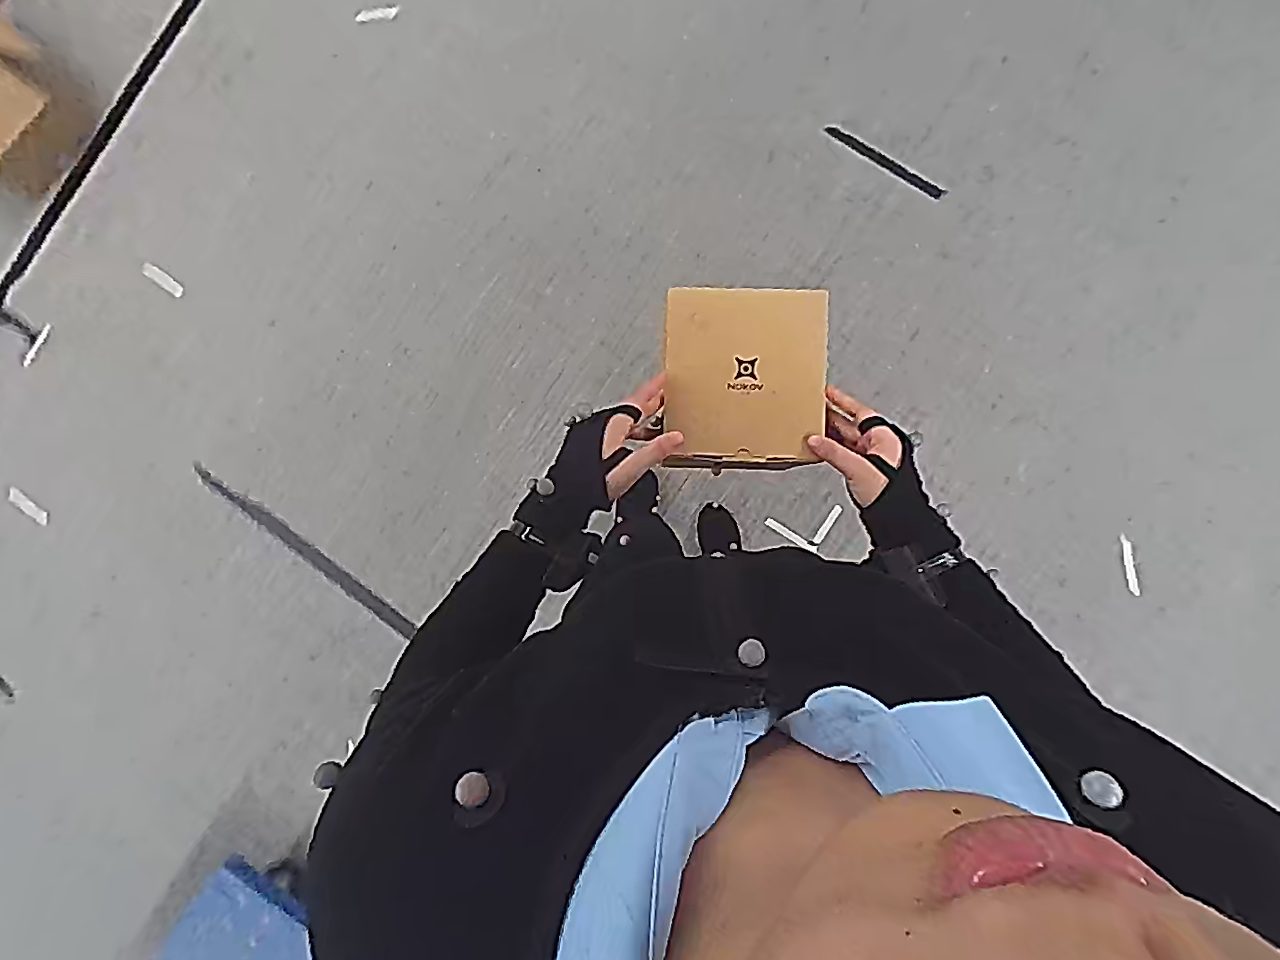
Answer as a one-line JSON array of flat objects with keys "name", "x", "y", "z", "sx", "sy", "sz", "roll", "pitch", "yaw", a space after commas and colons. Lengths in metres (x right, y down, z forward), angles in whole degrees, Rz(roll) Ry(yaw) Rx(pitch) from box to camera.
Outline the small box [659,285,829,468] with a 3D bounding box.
[{"name": "small box", "x": 0.107, "y": -0.106, "z": 0.621, "sx": 0.168, "sy": 0.176, "sz": 0.179, "roll": 0, "pitch": 89, "yaw": 1}]
